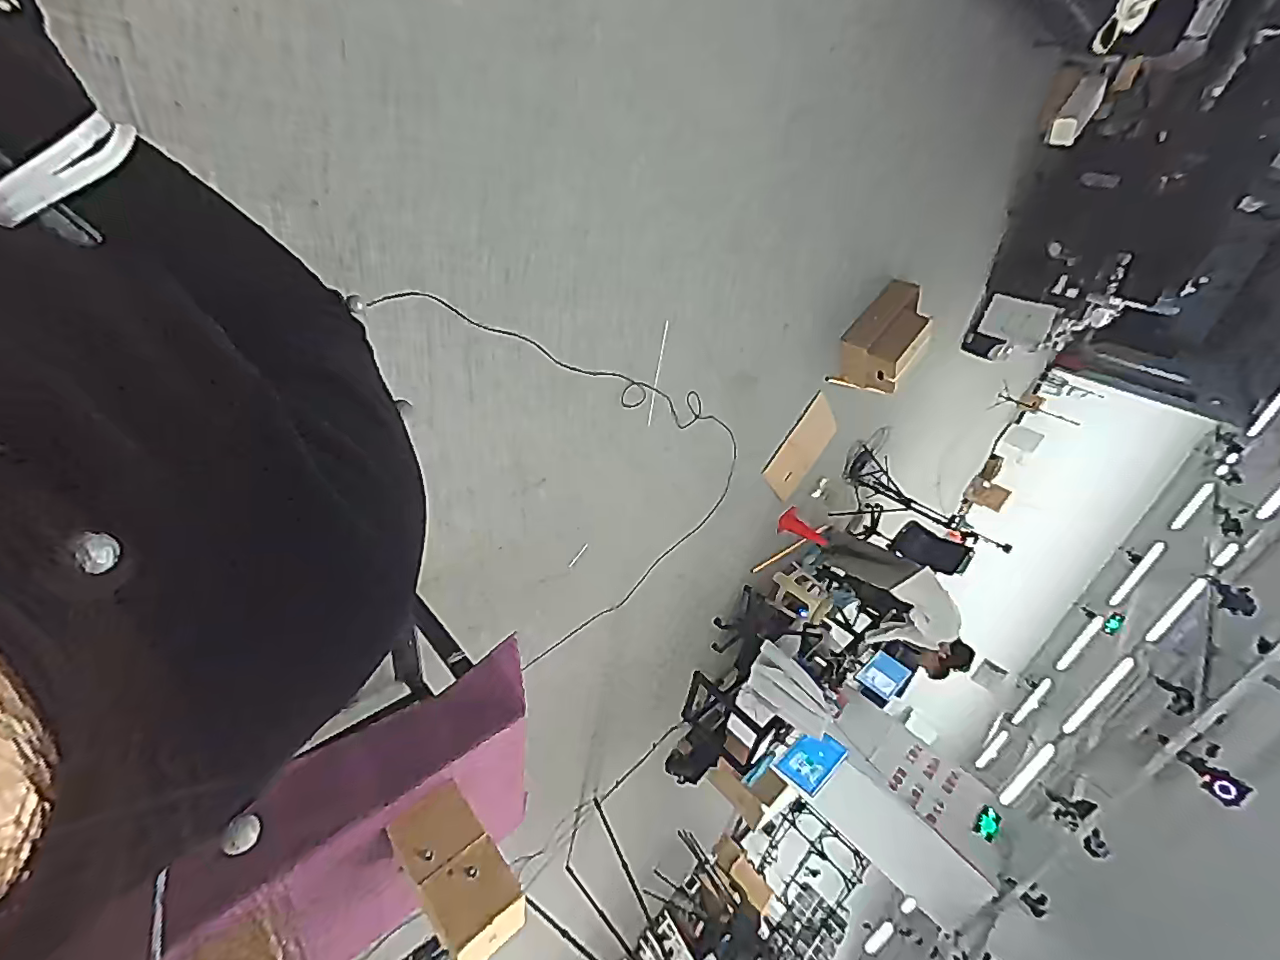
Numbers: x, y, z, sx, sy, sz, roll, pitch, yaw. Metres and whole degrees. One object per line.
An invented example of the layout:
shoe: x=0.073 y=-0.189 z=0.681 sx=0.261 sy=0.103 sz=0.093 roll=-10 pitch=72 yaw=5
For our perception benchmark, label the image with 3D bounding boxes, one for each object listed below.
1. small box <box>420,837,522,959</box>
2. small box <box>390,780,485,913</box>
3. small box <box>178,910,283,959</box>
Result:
small box: x=-0.386 y=0.973 z=1.242 sx=0.168 sy=0.176 sz=0.179 roll=-22 pitch=133 yaw=-38
small box: x=-0.498 y=0.892 z=1.329 sx=0.179 sy=0.176 sz=0.168 roll=-22 pitch=135 yaw=-38
small box: x=-0.803 y=1.004 z=1.057 sx=0.179 sy=0.176 sz=0.168 roll=-20 pitch=132 yaw=-40
